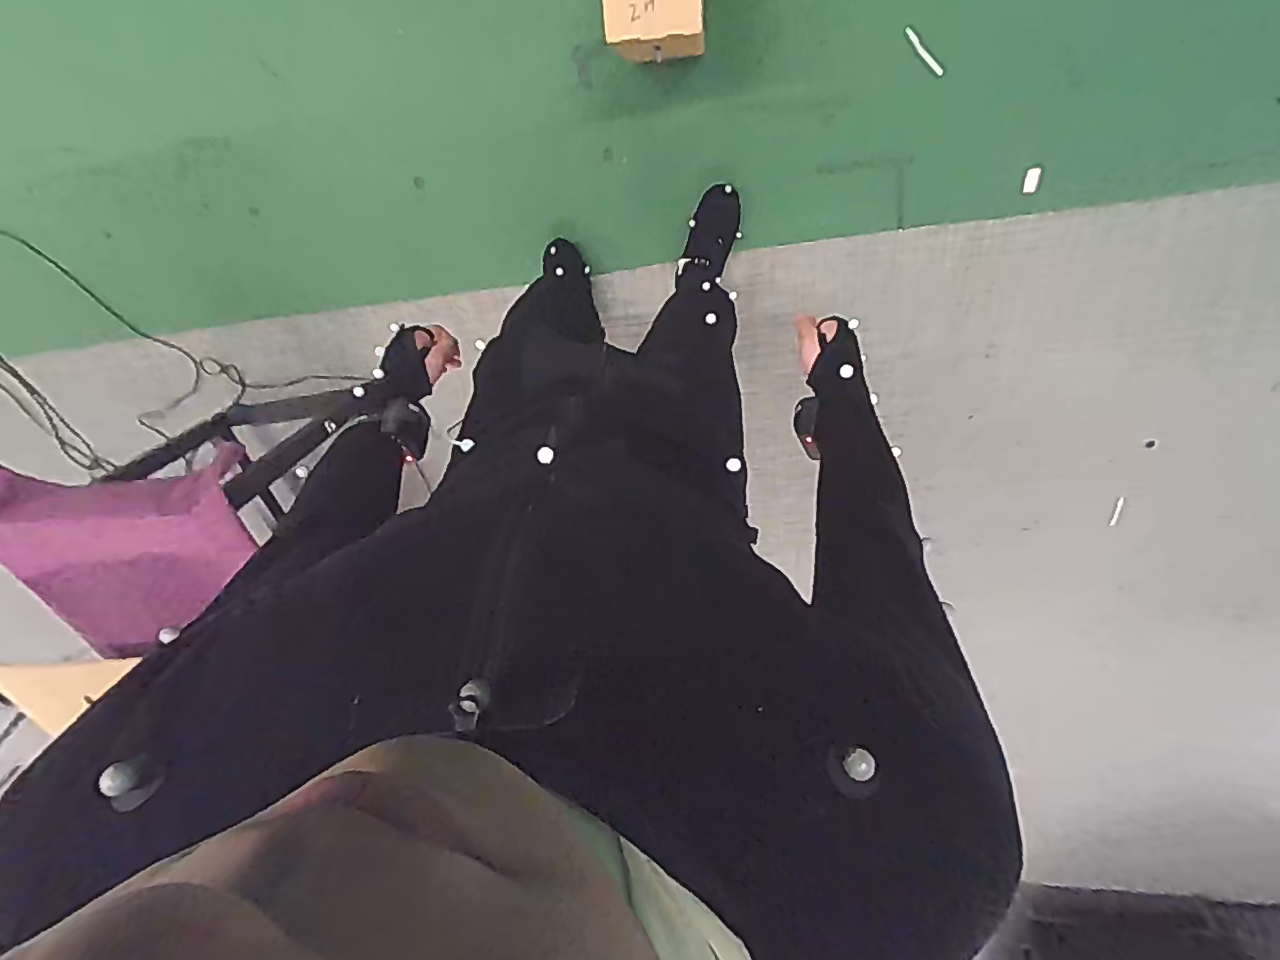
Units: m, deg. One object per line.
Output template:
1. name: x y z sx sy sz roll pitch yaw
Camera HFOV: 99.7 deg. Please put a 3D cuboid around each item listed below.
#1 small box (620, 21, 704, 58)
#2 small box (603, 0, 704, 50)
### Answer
1. small box: 0.041 -0.956 1.061 0.168 0.176 0.179 -1 123 8
2. small box: 0.026 -0.862 0.926 0.168 0.176 0.179 1 124 7
